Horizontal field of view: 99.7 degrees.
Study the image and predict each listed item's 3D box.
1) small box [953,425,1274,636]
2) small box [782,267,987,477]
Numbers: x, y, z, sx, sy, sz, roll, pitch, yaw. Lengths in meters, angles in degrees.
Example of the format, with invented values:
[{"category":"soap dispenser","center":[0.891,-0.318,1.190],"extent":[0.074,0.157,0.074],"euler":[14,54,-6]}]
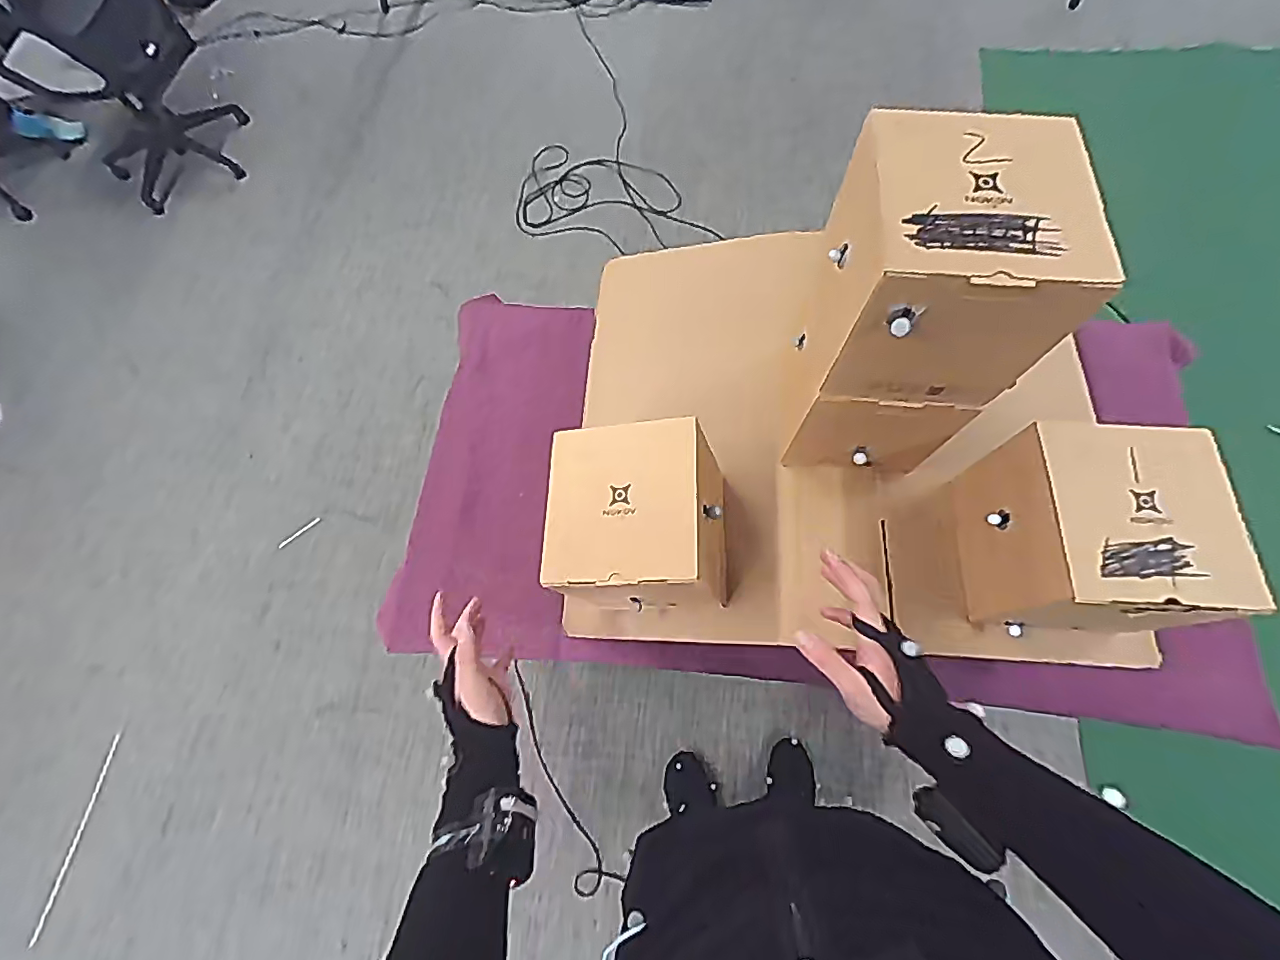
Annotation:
[{"category":"small box","center":[0.458,0.062,0.561],"extent":[0.168,0.176,0.179],"euler":[3,68,2]},{"category":"small box","center":[0.266,-0.120,0.635],"extent":[0.168,0.176,0.179],"euler":[4,68,3]}]
